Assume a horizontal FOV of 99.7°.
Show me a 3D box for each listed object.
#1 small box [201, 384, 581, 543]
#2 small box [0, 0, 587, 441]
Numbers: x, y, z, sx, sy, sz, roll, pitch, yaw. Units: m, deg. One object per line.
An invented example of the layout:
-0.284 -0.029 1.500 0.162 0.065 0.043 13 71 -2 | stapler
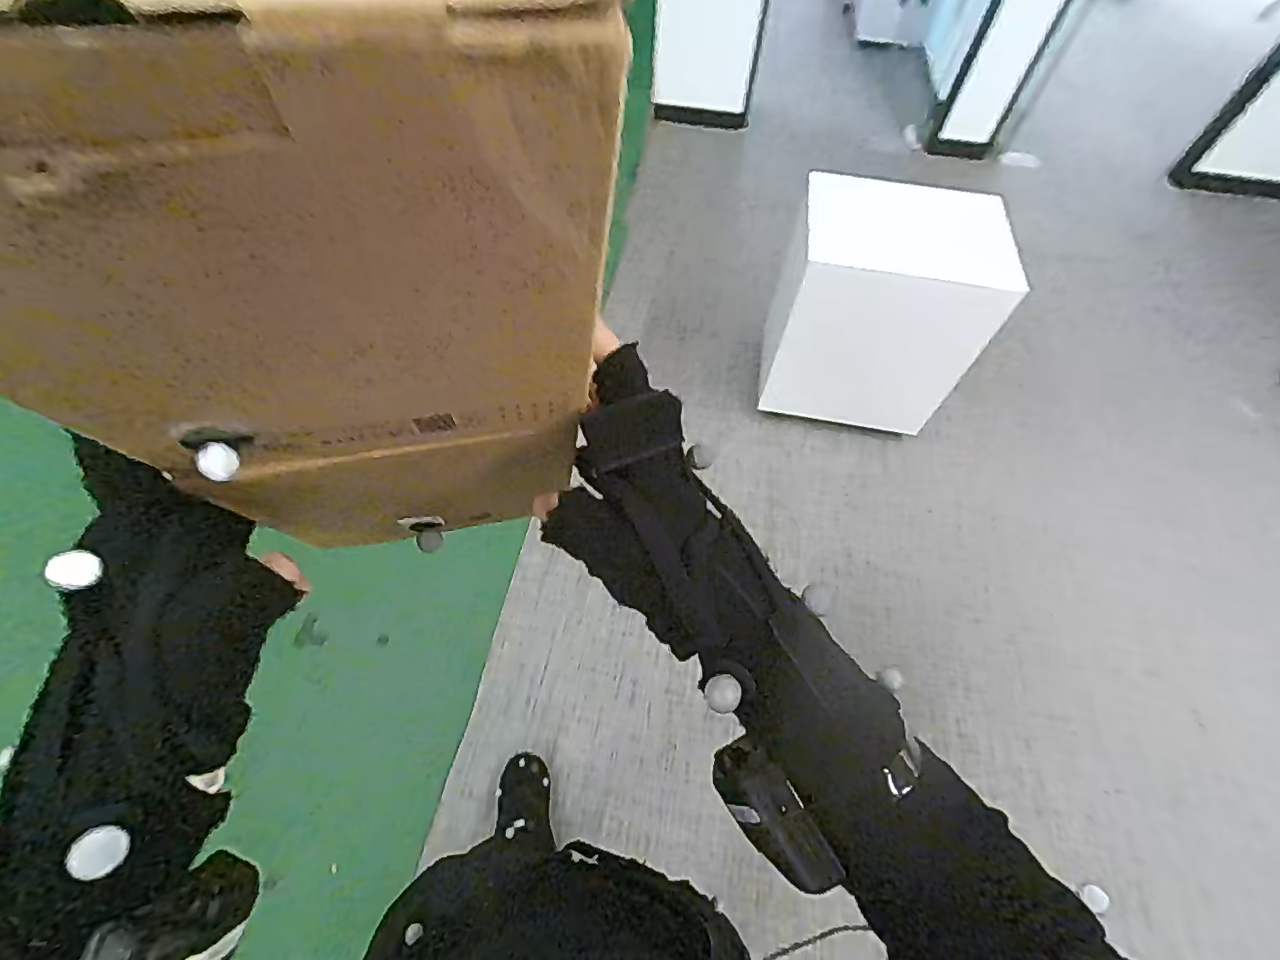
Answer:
-0.137 -0.071 0.343 0.168 0.176 0.179 -10 76 -11 | small box
-0.113 -0.122 0.188 0.168 0.176 0.179 -8 73 -11 | small box
